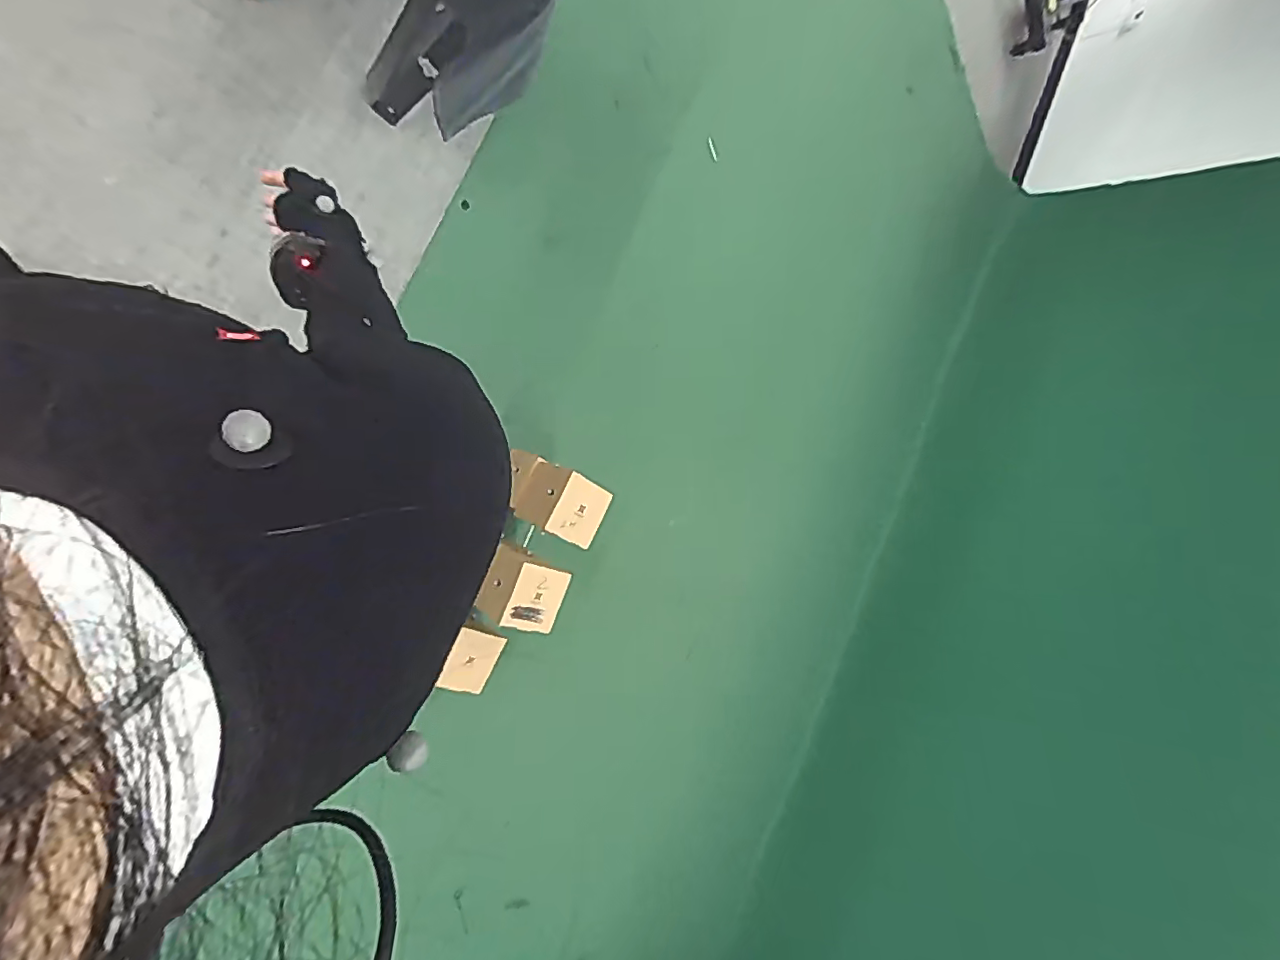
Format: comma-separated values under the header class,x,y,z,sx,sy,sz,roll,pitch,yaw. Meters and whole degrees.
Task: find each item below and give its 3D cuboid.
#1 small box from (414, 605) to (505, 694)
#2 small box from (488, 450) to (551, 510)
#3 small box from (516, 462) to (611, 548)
class,x,y,z,sx,sy,sz,roll,pitch,yaw
small box,-0.534,0.492,1.581,0.168,0.176,0.179,34,77,-42
small box,-0.329,0.021,1.639,0.179,0.176,0.168,36,77,-41
small box,-0.219,0.064,1.524,0.168,0.176,0.179,34,77,-41
